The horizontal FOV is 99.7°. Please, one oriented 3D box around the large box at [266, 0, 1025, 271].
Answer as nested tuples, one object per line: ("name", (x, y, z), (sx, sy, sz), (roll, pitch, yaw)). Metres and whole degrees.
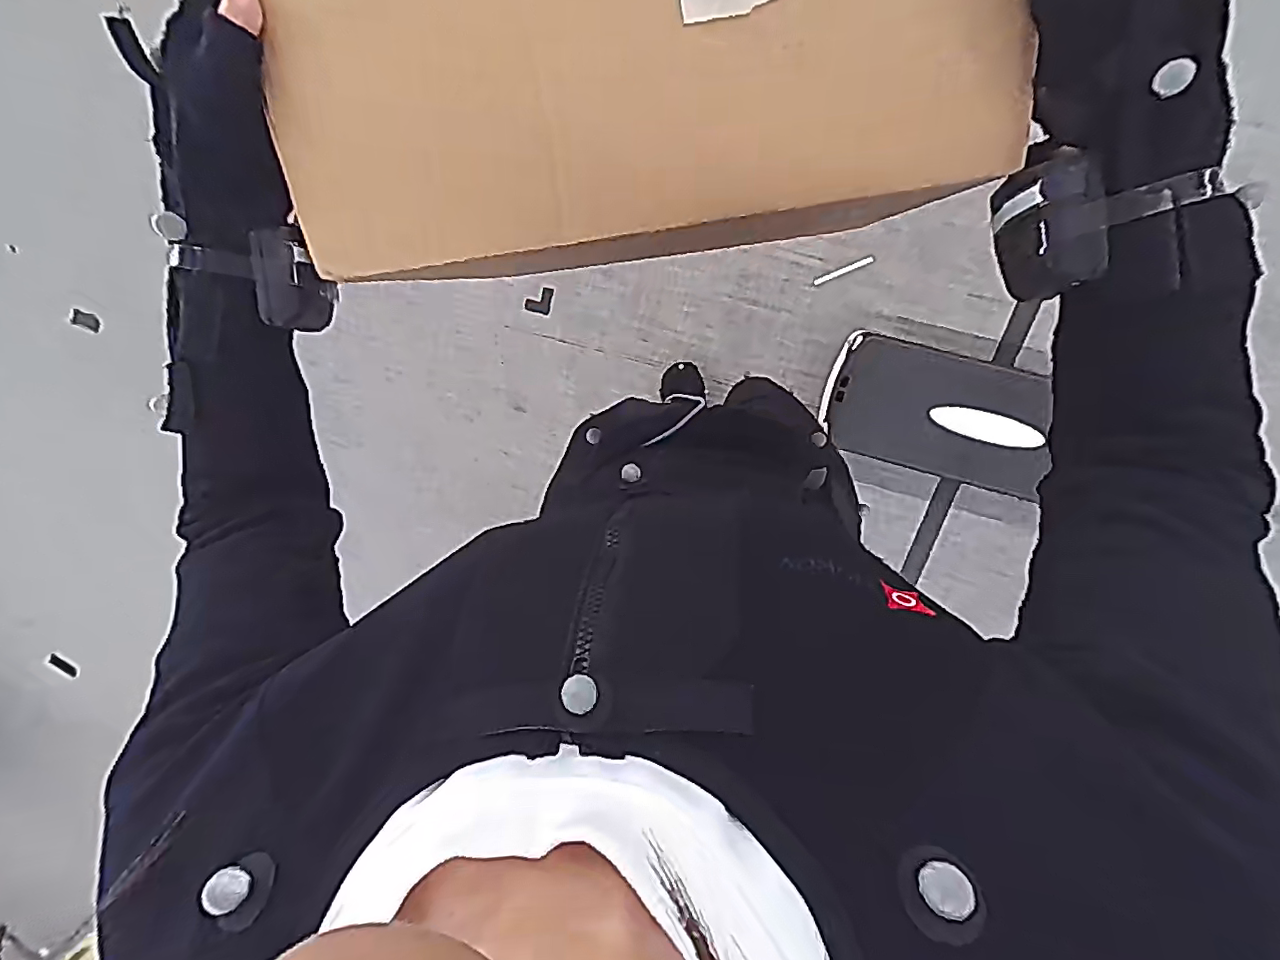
("large box", (0.001, -0.350, 0.407), (0.408, 0.320, 0.320), (-5, 111, 9))
